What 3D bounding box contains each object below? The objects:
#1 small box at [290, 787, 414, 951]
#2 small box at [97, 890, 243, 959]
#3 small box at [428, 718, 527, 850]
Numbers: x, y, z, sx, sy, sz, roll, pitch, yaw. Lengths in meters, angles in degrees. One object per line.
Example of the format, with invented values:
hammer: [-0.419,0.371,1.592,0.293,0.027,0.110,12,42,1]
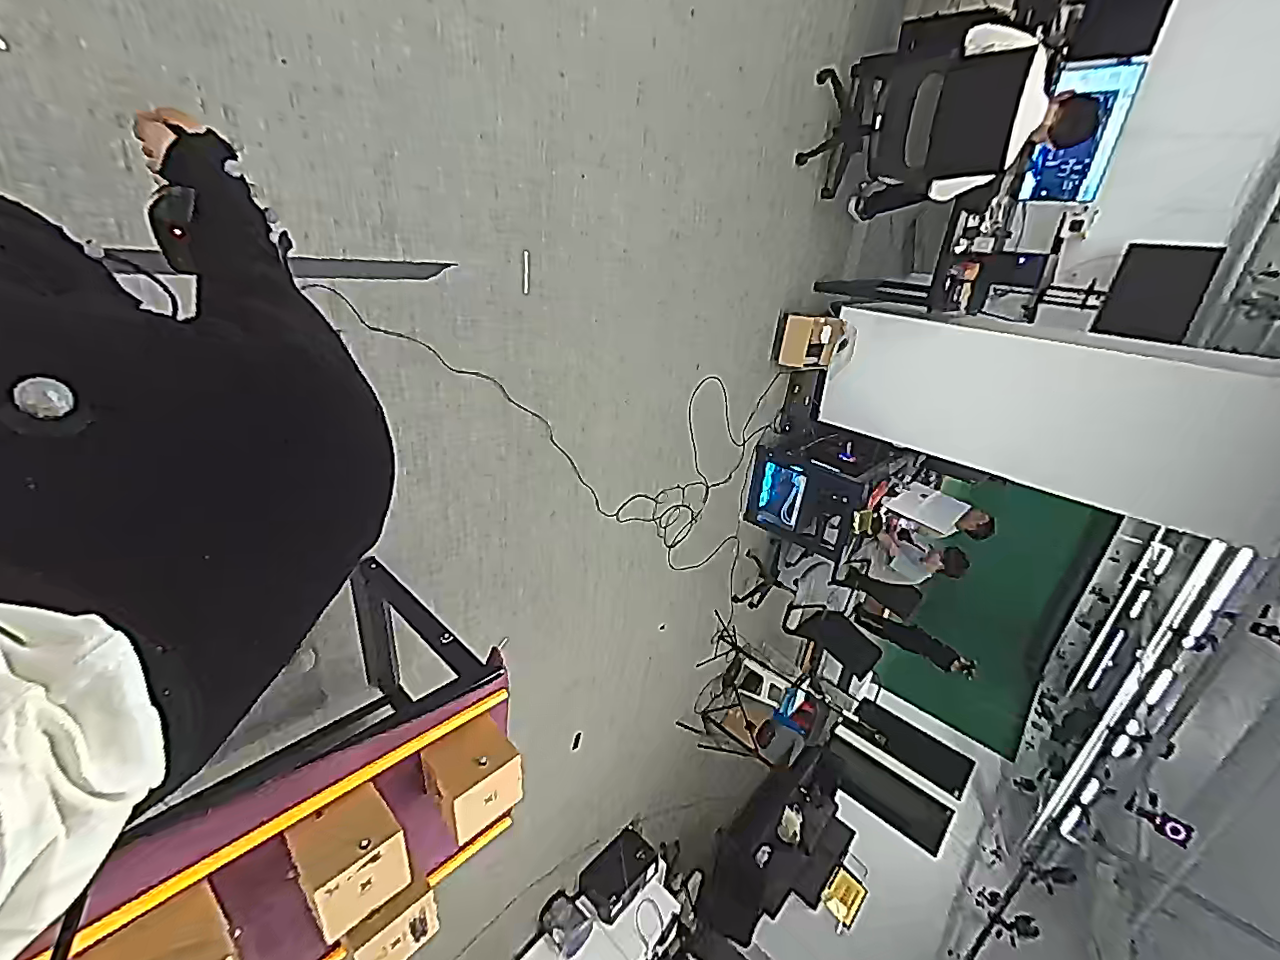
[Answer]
small box: [-0.583,0.778,1.100,0.168,0.176,0.179,-21,125,-44]
small box: [-0.778,0.849,0.903,0.179,0.176,0.168,-22,127,-42]
small box: [-0.392,0.719,1.297,0.179,0.176,0.168,-21,126,-42]
